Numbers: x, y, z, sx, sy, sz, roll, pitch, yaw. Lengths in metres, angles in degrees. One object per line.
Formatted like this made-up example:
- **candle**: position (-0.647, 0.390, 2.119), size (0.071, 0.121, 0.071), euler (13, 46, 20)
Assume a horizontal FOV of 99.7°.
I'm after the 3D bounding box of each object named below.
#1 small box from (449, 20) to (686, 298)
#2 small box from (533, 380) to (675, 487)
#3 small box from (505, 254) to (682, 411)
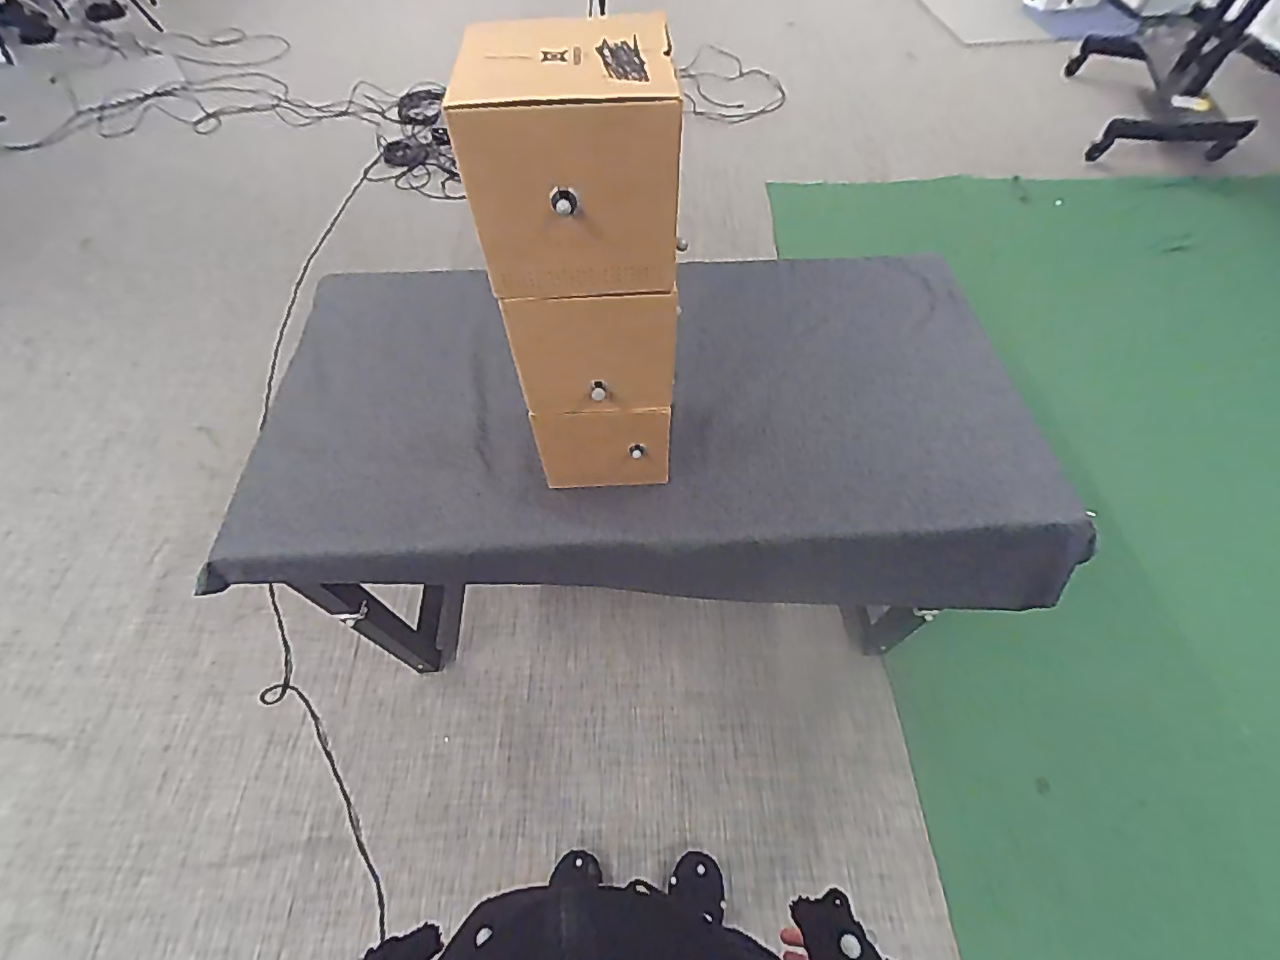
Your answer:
- **small box**: position (-0.055, -0.290, 0.503), size (0.179, 0.176, 0.168), euler (-3, 56, 0)
- **small box**: position (-0.047, -0.103, 0.773), size (0.179, 0.176, 0.168), euler (-4, 56, 0)
- **small box**: position (-0.050, -0.197, 0.640), size (0.179, 0.176, 0.168), euler (-3, 56, -2)
